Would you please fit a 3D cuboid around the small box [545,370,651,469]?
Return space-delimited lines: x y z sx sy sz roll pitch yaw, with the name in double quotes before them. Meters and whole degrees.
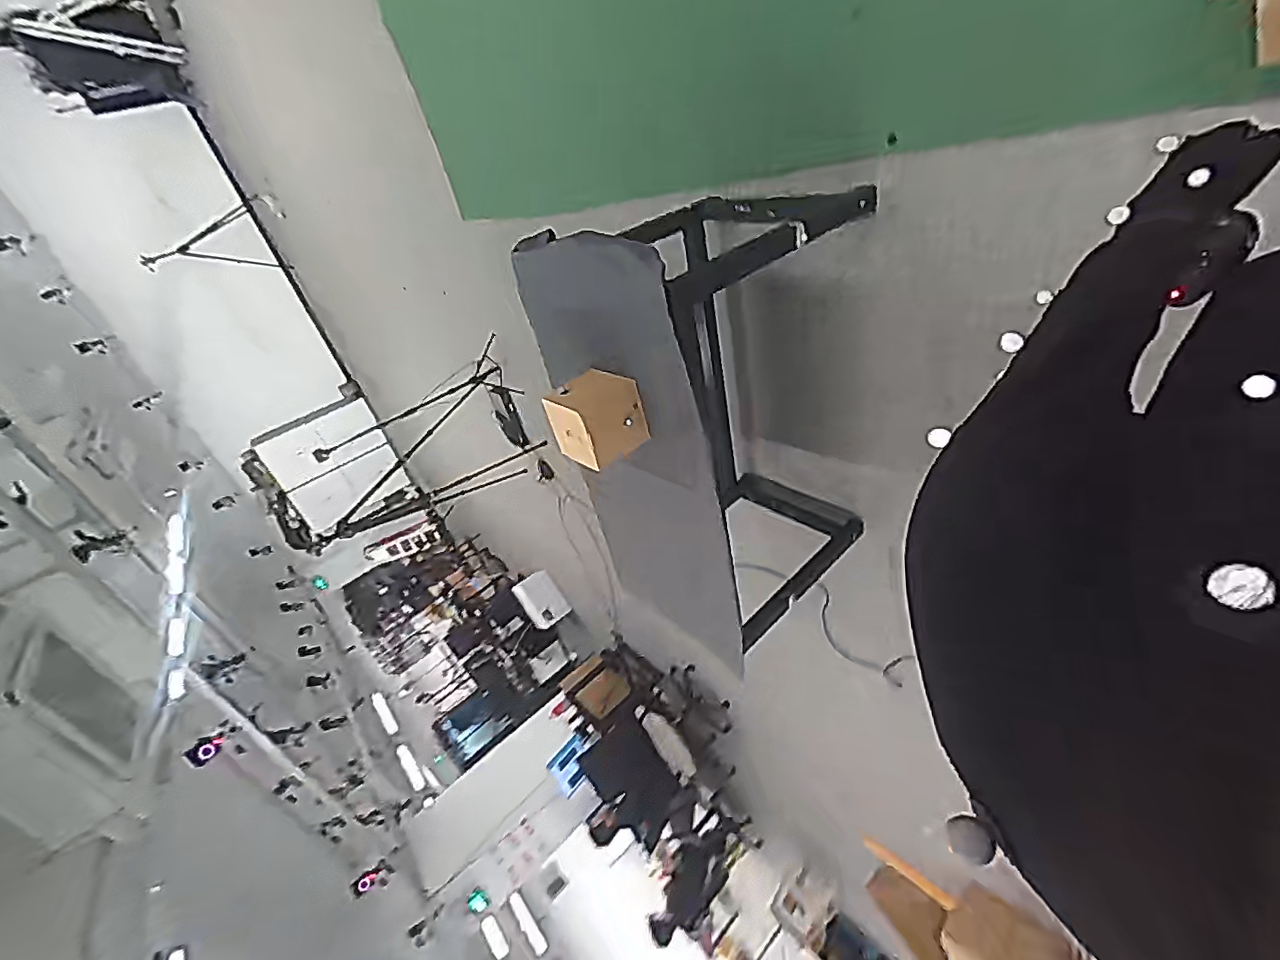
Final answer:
"small box" -0.101 -0.156 1.326 0.179 0.176 0.168 25 141 46
